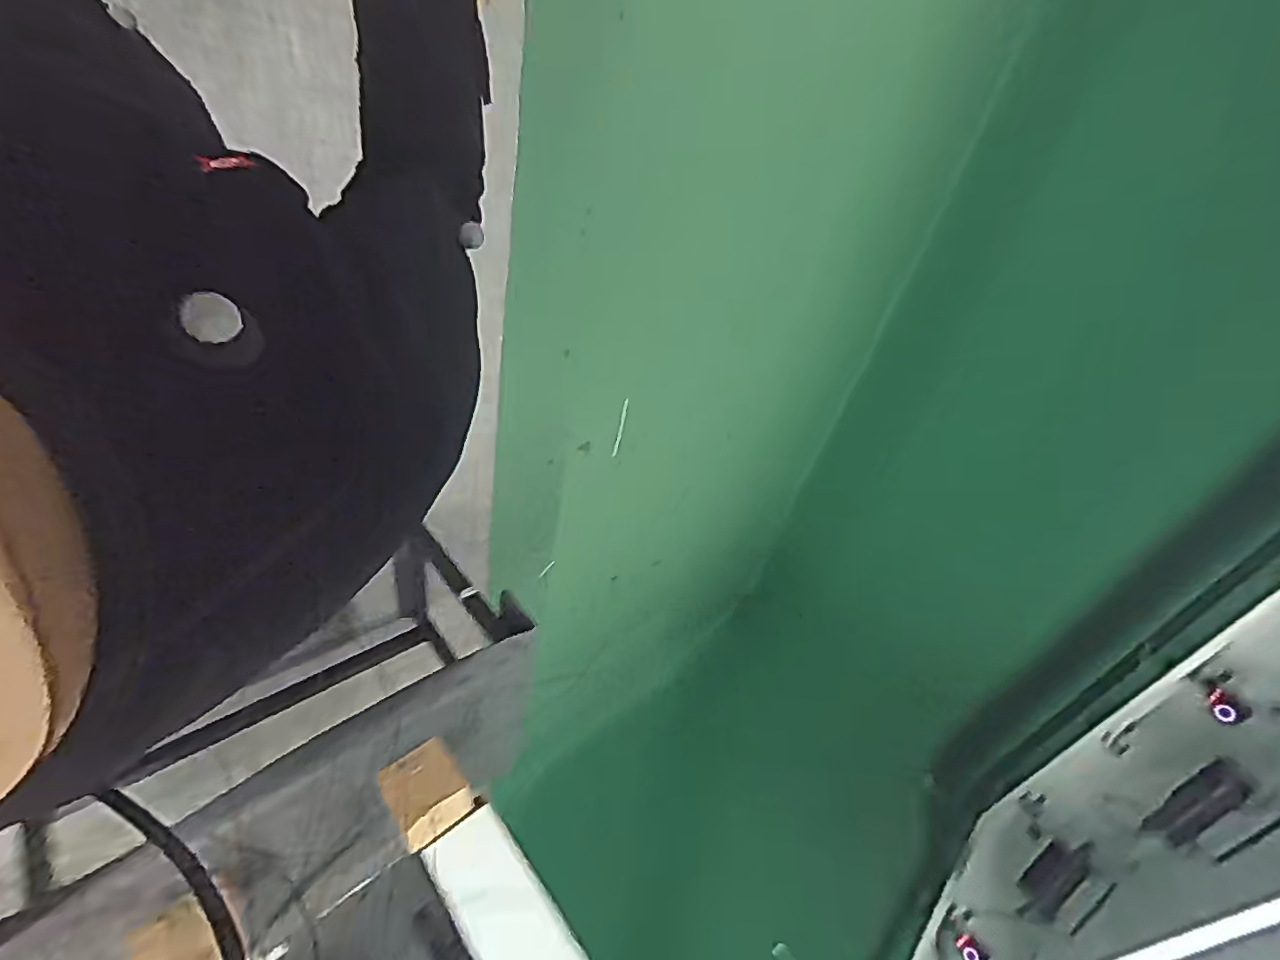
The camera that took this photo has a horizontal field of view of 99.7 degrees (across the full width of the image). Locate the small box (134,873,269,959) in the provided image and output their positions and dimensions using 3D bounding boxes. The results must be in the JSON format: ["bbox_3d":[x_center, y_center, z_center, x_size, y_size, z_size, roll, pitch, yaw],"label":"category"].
[{"bbox_3d":[-0.920,0.979,1.138,0.168,0.176,0.179,-23,141,-39],"label":"small box"}]

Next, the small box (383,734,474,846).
[{"bbox_3d":[-0.561,0.819,1.443,0.168,0.176,0.179,-27,142,-36],"label":"small box"}]
